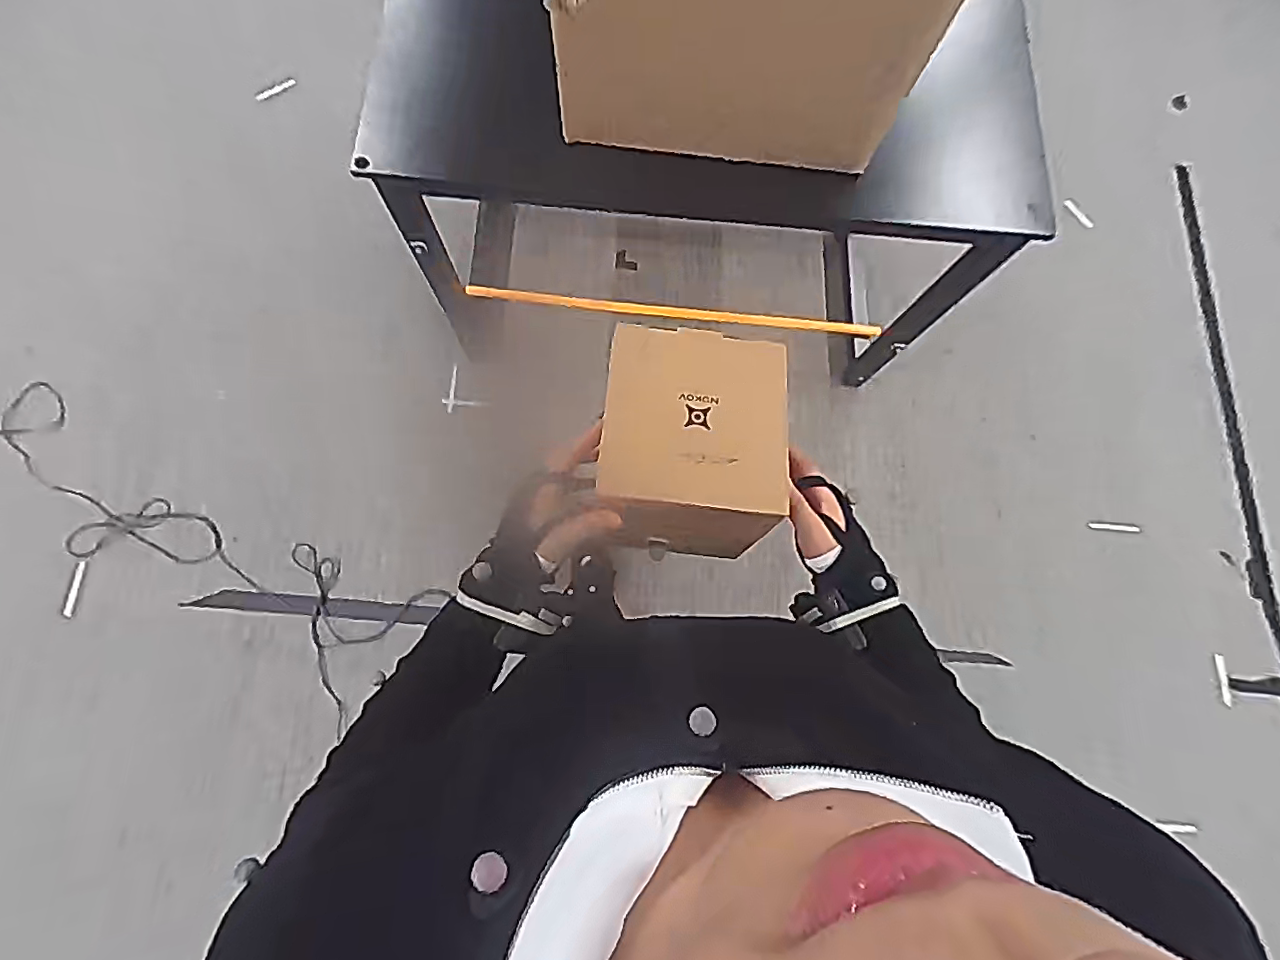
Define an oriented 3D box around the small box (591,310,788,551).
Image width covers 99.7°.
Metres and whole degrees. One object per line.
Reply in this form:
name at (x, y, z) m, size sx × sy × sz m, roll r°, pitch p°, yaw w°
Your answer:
small box at (0.042, -0.040, 0.548) m, size 0.168 × 0.176 × 0.179 m, roll 7°, pitch 69°, yaw -3°
